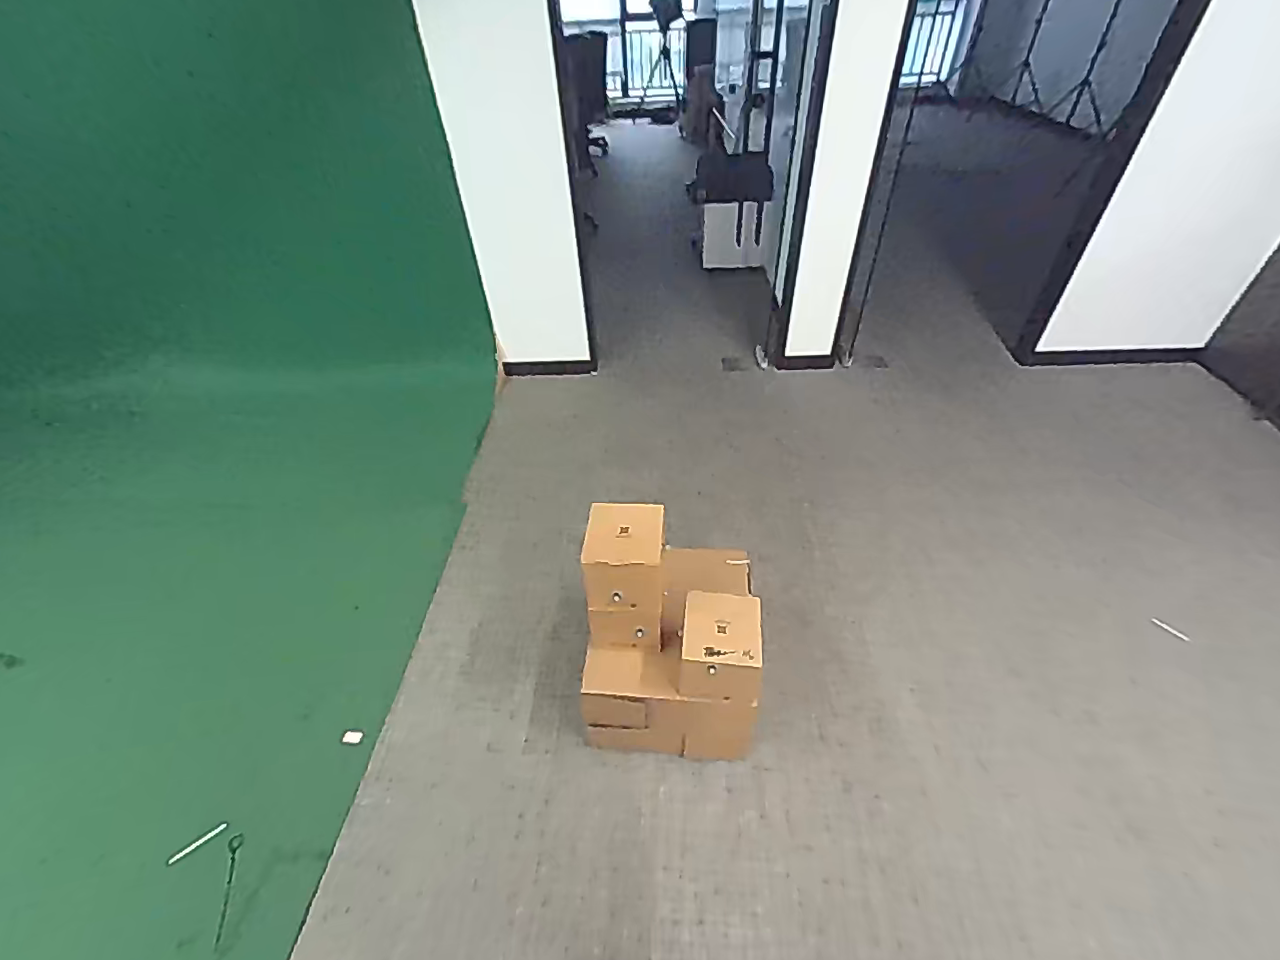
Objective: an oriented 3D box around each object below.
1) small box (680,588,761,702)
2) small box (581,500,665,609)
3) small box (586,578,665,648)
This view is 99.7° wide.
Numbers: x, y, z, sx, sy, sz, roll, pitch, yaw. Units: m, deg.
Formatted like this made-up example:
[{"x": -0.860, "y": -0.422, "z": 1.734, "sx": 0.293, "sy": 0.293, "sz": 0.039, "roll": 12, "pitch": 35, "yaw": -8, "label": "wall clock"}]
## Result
[{"x": 0.178, "y": 0.368, "z": 1.214, "sx": 0.168, "sy": 0.176, "sz": 0.179, "roll": 3, "pitch": 41, "yaw": 7, "label": "small box"}, {"x": -0.031, "y": 0.166, "z": 1.213, "sx": 0.168, "sy": 0.176, "sz": 0.179, "roll": 2, "pitch": 44, "yaw": 6, "label": "small box"}, {"x": -0.028, "y": 0.291, "z": 1.320, "sx": 0.168, "sy": 0.176, "sz": 0.179, "roll": 2, "pitch": 41, "yaw": 6, "label": "small box"}]
